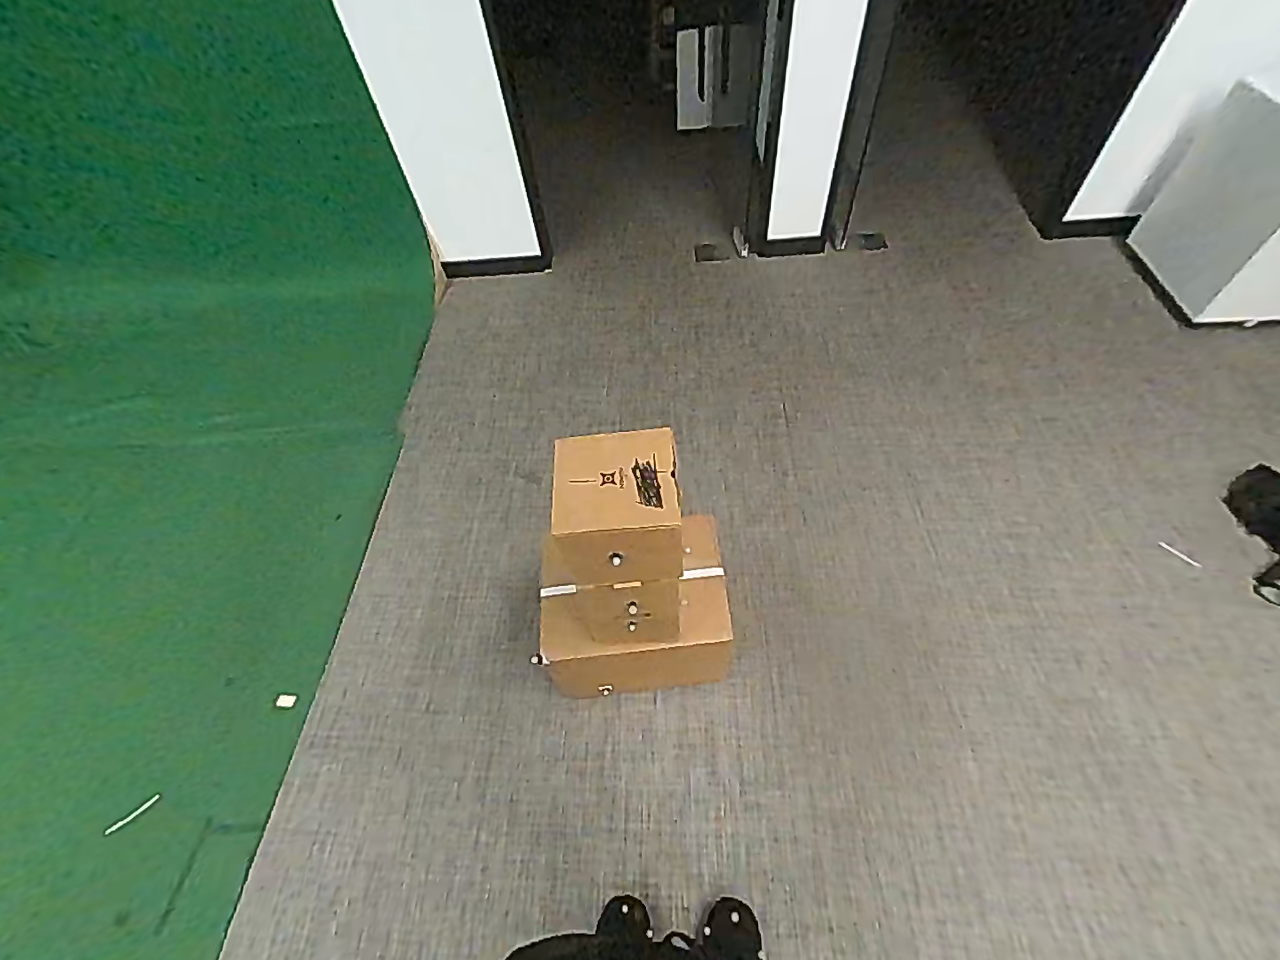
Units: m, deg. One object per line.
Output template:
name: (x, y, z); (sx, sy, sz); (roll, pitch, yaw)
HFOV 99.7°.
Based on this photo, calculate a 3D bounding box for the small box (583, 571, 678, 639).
small box: (-0.014, 0.217, 1.097); (0.179, 0.176, 0.168); (-3, 57, 1)

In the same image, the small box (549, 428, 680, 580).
small box: (-0.031, 0.041, 0.820); (0.179, 0.176, 0.168); (-5, 56, 3)

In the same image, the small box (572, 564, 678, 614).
small box: (-0.023, 0.131, 0.959); (0.168, 0.176, 0.179); (-5, 57, 2)
